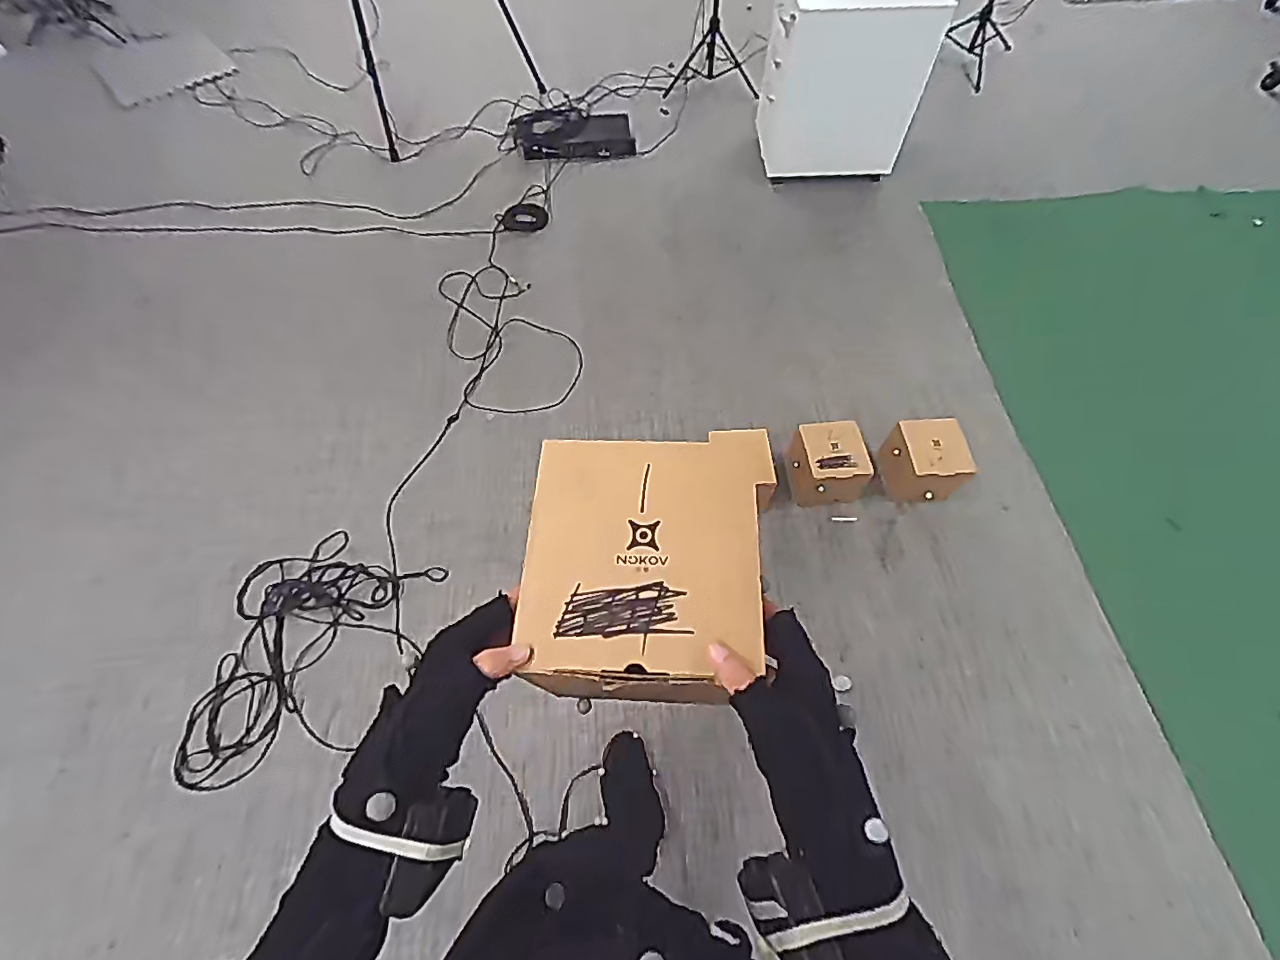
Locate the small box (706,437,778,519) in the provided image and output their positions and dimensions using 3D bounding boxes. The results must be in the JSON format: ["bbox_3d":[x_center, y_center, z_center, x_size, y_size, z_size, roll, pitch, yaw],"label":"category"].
[{"bbox_3d":[0.281,-0.003,1.538,0.168,0.176,0.179,-3,61,0],"label":"small box"}]

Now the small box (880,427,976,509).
[{"bbox_3d":[0.810,-0.033,1.546,0.168,0.176,0.179,-3,62,0],"label":"small box"}]
